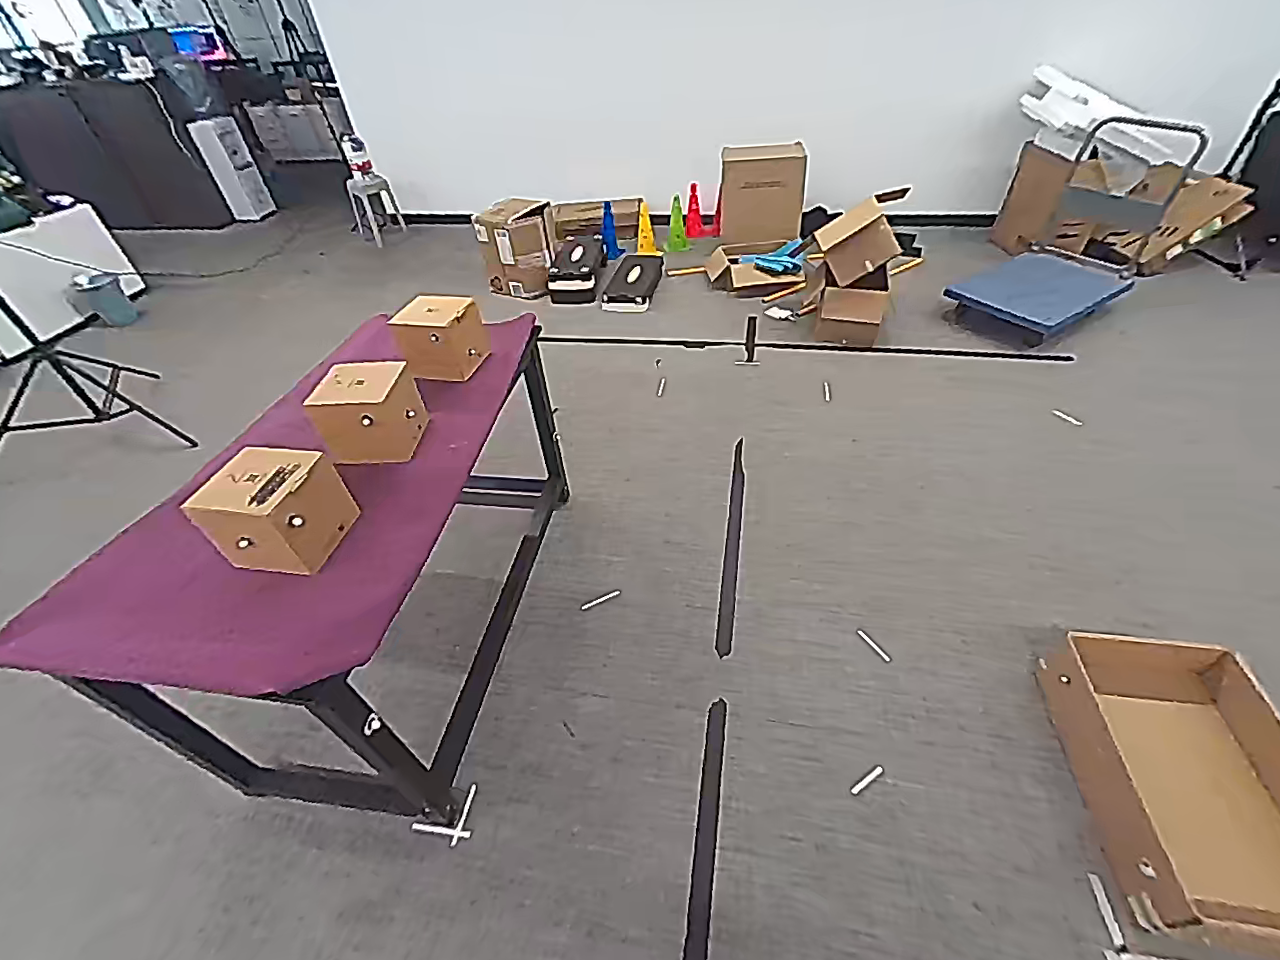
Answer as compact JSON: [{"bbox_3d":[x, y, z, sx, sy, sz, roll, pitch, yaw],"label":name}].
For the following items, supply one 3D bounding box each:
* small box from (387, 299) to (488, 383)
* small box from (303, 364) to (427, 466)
[{"bbox_3d":[-0.547,-0.381,1.485,0.179,0.176,0.168,6,44,13],"label":"small box"},{"bbox_3d":[-0.616,-0.147,1.241,0.179,0.176,0.168,-2,42,3],"label":"small box"}]
